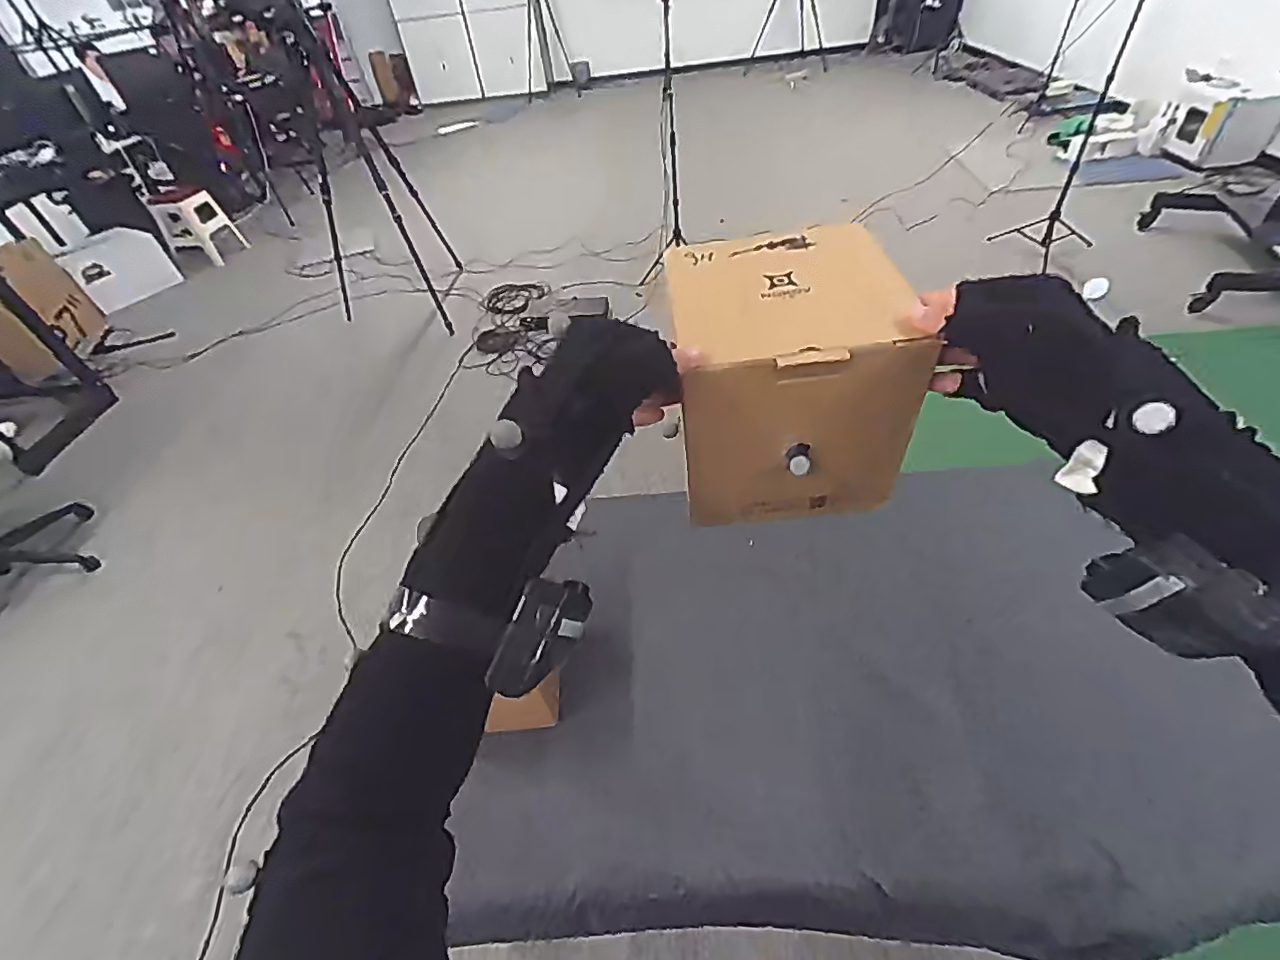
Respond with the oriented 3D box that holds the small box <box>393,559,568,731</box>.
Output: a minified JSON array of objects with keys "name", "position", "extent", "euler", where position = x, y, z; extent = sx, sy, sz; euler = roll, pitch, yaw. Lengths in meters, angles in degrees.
[{"name":"small box","position":[-0.204,0.232,0.748],"extent":[0.179,0.176,0.168],"euler":[-6,45,1]}]

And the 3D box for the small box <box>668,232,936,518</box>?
[{"name":"small box","position":[0.116,-0.081,0.459],"extent":[0.168,0.176,0.179],"euler":[-6,48,4]}]
